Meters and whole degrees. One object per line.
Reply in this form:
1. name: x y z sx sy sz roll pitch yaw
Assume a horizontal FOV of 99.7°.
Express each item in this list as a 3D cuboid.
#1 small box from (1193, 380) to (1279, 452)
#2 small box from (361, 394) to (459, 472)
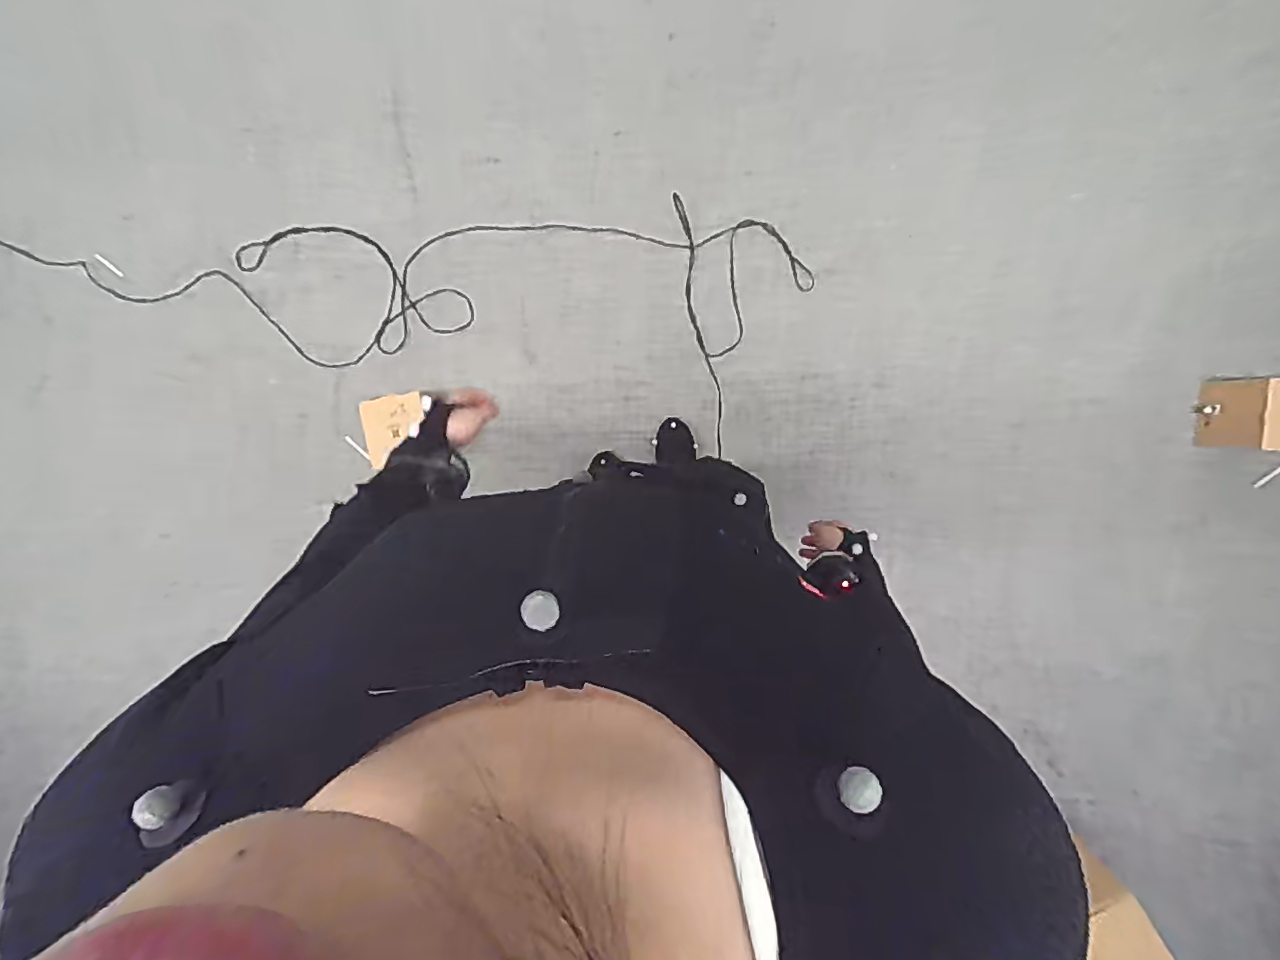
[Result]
1. small box: 1.509 -0.154 1.301 0.179 0.176 0.168 0 96 5
2. small box: -0.597 -0.126 1.428 0.168 0.176 0.179 -9 96 5
